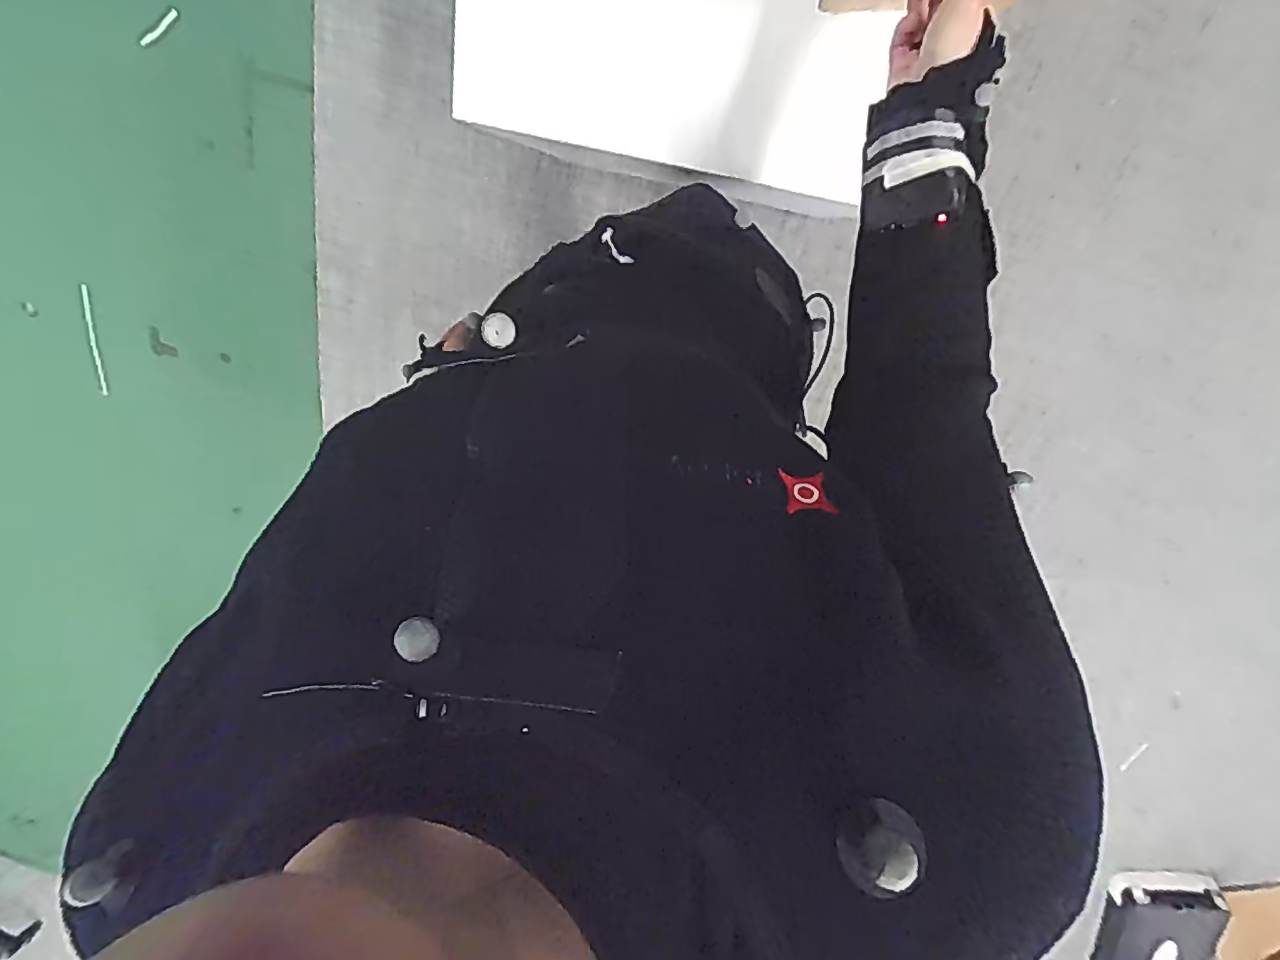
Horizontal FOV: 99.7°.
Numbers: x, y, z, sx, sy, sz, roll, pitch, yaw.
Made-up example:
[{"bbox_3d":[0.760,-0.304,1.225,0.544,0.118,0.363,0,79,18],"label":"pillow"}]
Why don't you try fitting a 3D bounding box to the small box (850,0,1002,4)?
[{"bbox_3d":[0.235,-0.467,0.380,0.168,0.176,0.179,6,118,8],"label":"small box"}]
